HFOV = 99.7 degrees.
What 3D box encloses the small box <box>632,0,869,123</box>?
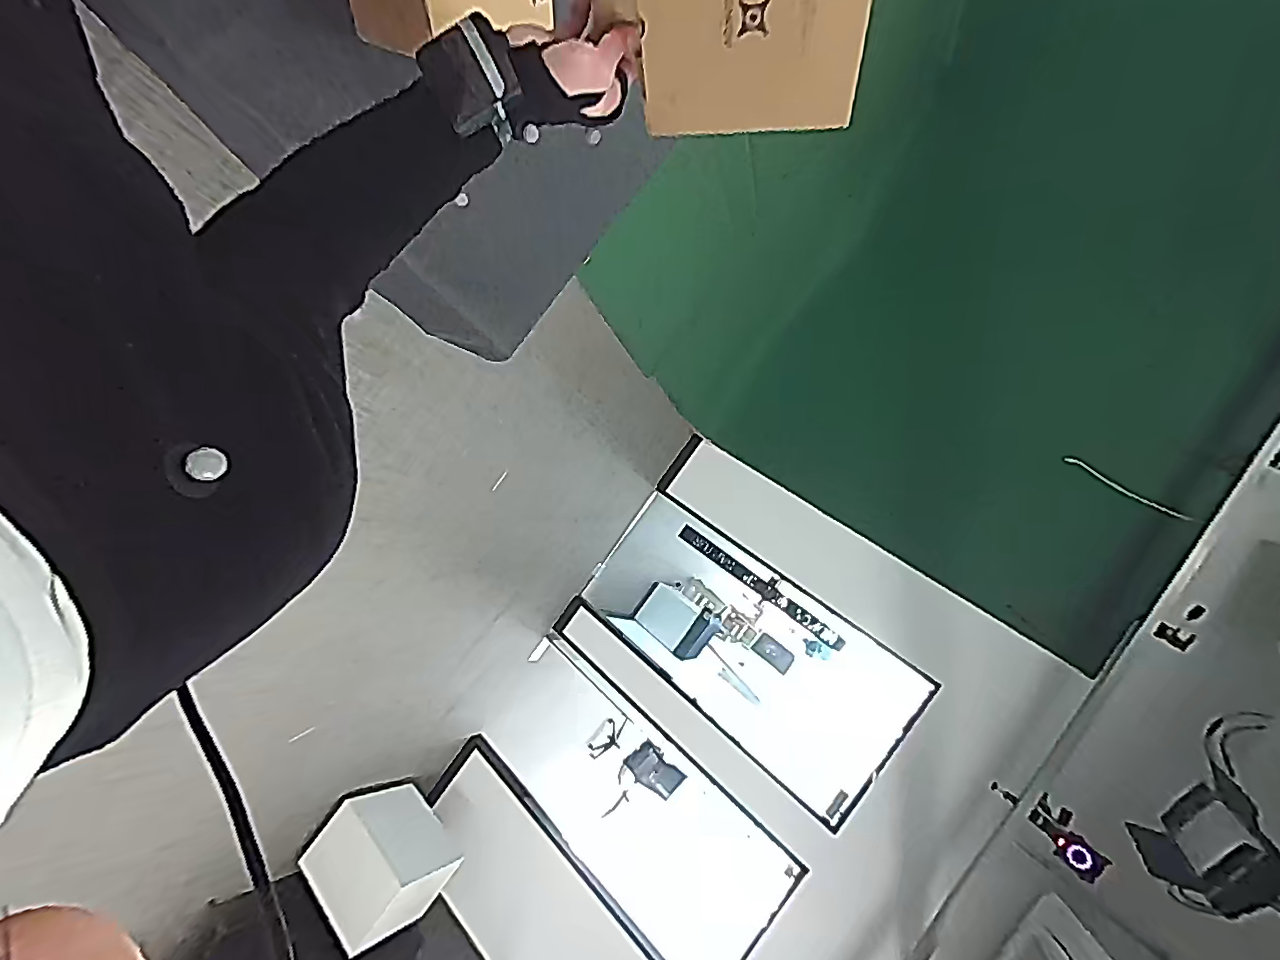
[{"bbox_3d":[0.092,-0.423,0.437,0.168,0.179,0.176,75,22,-61],"label":"small box"}]
